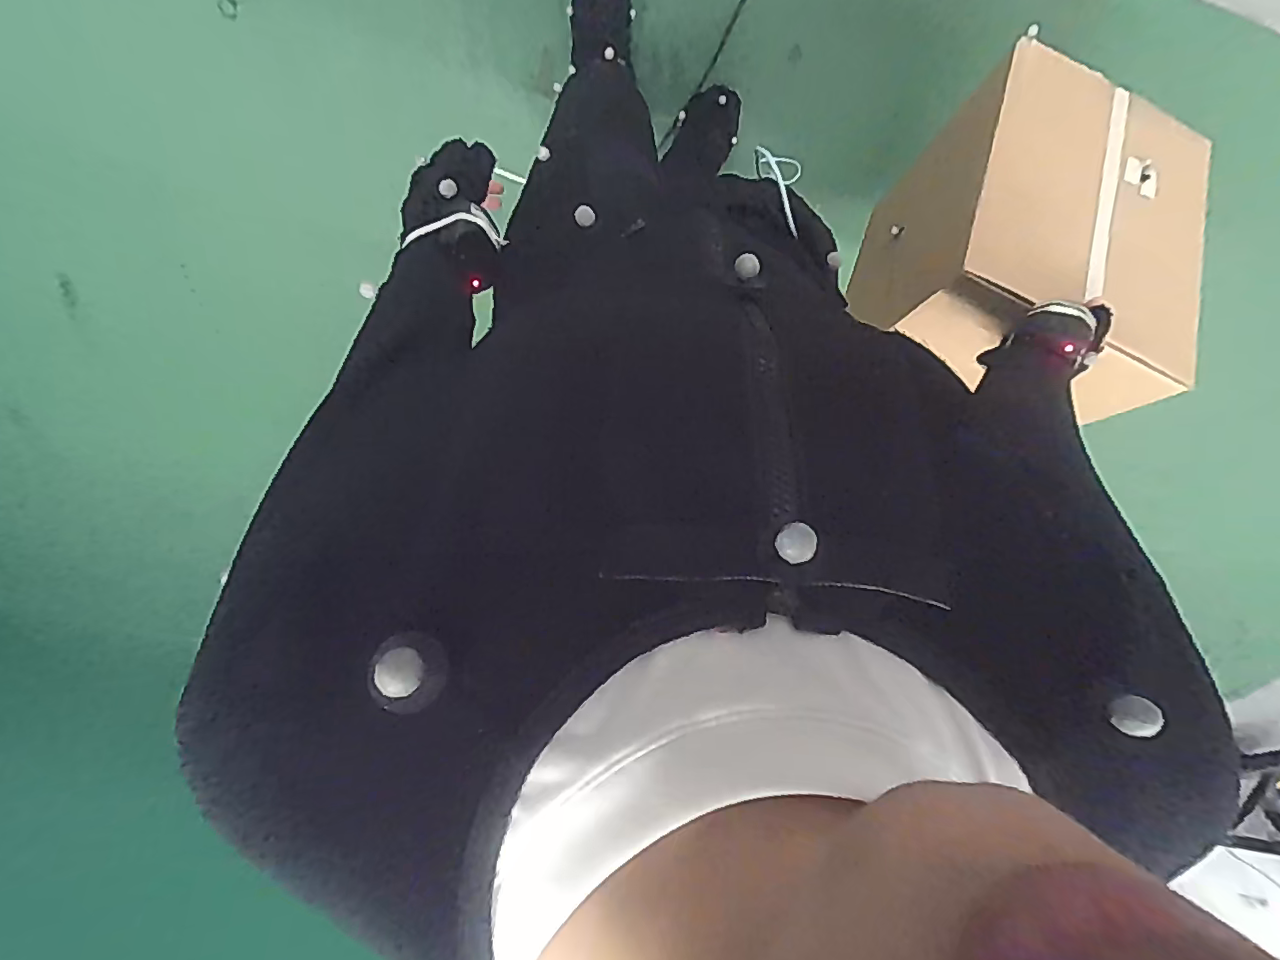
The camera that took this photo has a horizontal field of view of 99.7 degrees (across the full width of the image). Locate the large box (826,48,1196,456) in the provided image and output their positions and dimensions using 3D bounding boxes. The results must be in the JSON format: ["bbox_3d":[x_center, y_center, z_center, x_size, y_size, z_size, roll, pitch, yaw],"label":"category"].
[{"bbox_3d":[0.530,-0.304,0.812,0.320,0.408,0.320,24,162,-6],"label":"large box"}]
